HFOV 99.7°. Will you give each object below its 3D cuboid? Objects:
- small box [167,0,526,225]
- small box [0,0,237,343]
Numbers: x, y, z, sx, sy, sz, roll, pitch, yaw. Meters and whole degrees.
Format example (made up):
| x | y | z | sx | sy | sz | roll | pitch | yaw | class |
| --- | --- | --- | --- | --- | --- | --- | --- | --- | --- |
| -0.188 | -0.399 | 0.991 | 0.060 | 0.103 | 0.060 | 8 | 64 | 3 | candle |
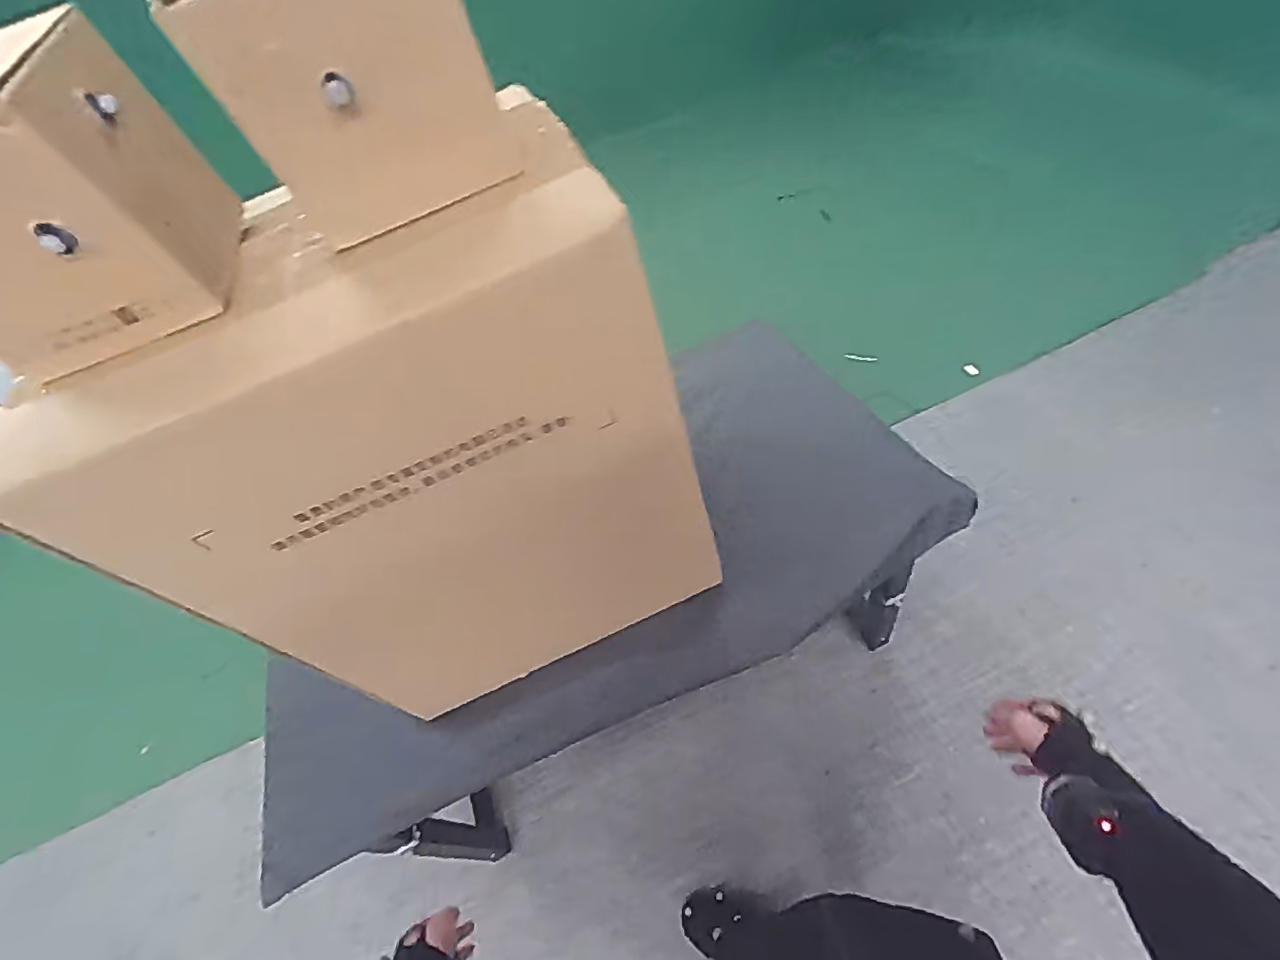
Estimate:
| x | y | z | sx | sy | sz | roll | pitch | yaw | class |
| --- | --- | --- | --- | --- | --- | --- | --- | --- | --- |
| -0.215 | -0.336 | 0.424 | 0.179 | 0.176 | 0.168 | -25 | 55 | -3 | small box |
| -0.449 | -0.226 | 0.407 | 0.168 | 0.176 | 0.179 | -21 | 54 | -3 | small box |
